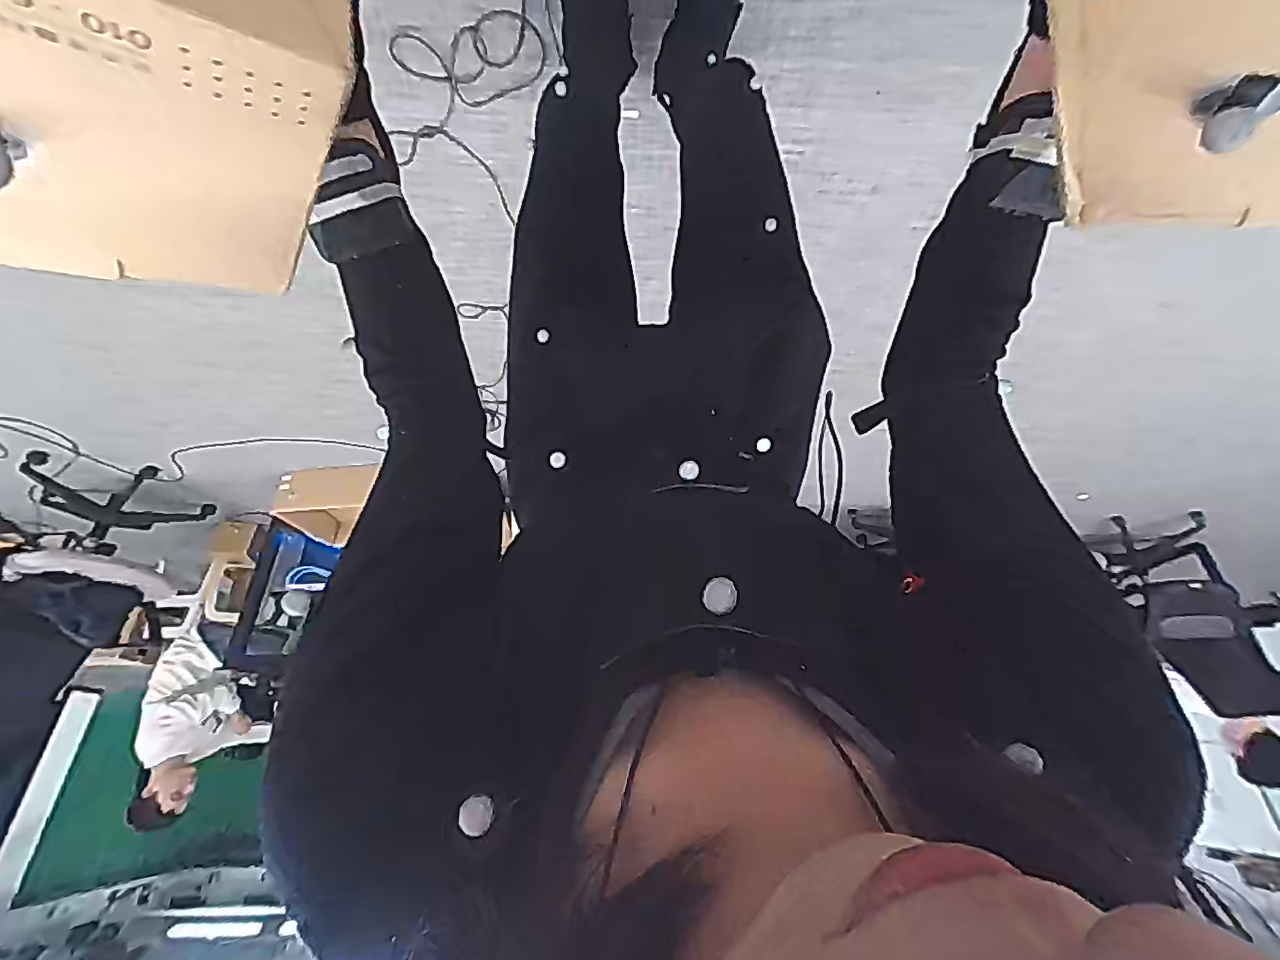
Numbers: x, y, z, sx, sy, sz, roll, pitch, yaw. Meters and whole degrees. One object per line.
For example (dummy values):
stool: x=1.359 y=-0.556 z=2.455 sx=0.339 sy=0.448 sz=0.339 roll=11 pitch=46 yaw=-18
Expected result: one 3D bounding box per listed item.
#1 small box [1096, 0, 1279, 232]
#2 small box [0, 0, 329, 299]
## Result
small box: x=0.229 y=-0.182 z=0.119 sx=0.168 sy=0.179 sz=0.176 roll=19 pitch=-175 yaw=38
small box: x=-0.191 y=-0.175 z=0.144 sx=0.168 sy=0.179 sz=0.176 roll=-2 pitch=175 yaw=-39
